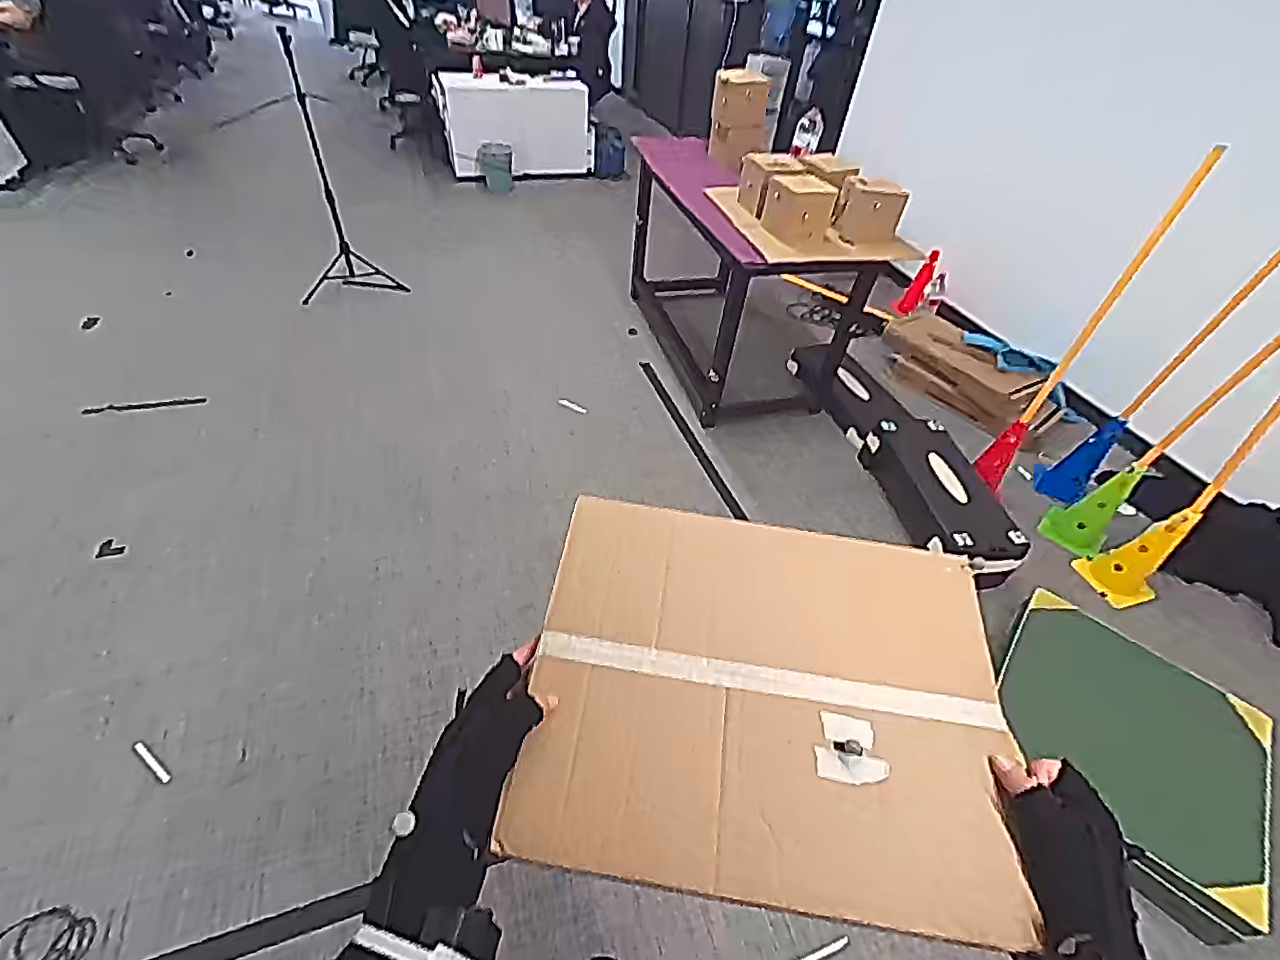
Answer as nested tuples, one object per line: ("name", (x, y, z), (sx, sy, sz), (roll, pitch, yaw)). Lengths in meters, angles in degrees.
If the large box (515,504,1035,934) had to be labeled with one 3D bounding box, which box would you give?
("large box", (0.109, 0.261, 0.609), (0.408, 0.320, 0.320), (10, 57, 2))
